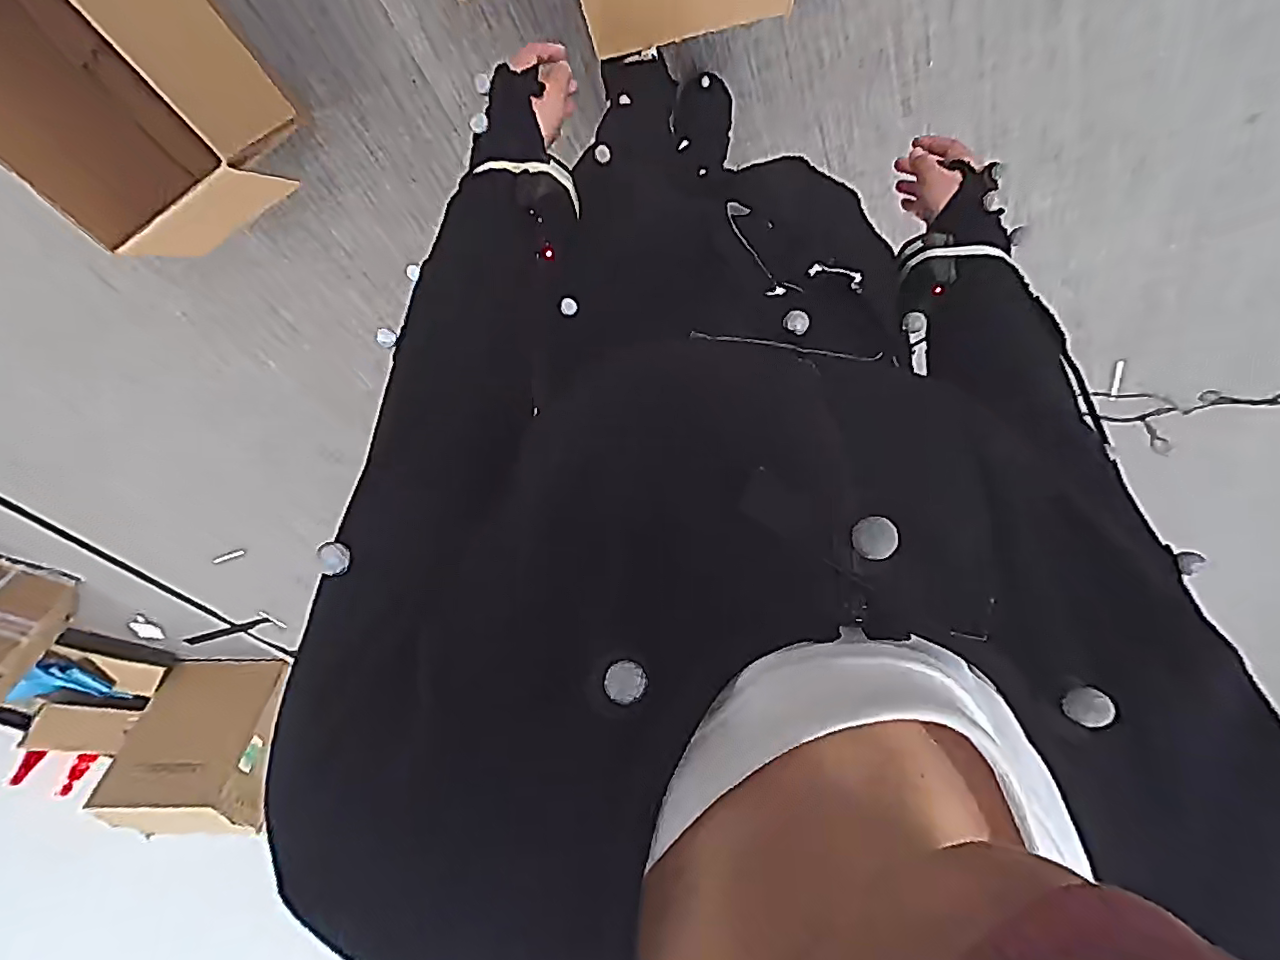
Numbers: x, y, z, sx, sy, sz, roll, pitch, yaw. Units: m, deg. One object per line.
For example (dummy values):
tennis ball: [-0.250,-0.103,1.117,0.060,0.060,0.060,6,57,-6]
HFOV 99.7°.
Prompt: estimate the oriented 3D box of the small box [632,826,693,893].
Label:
small box: [0.077,1.343,1.914,0.179,0.176,0.168,-16,134,15]
